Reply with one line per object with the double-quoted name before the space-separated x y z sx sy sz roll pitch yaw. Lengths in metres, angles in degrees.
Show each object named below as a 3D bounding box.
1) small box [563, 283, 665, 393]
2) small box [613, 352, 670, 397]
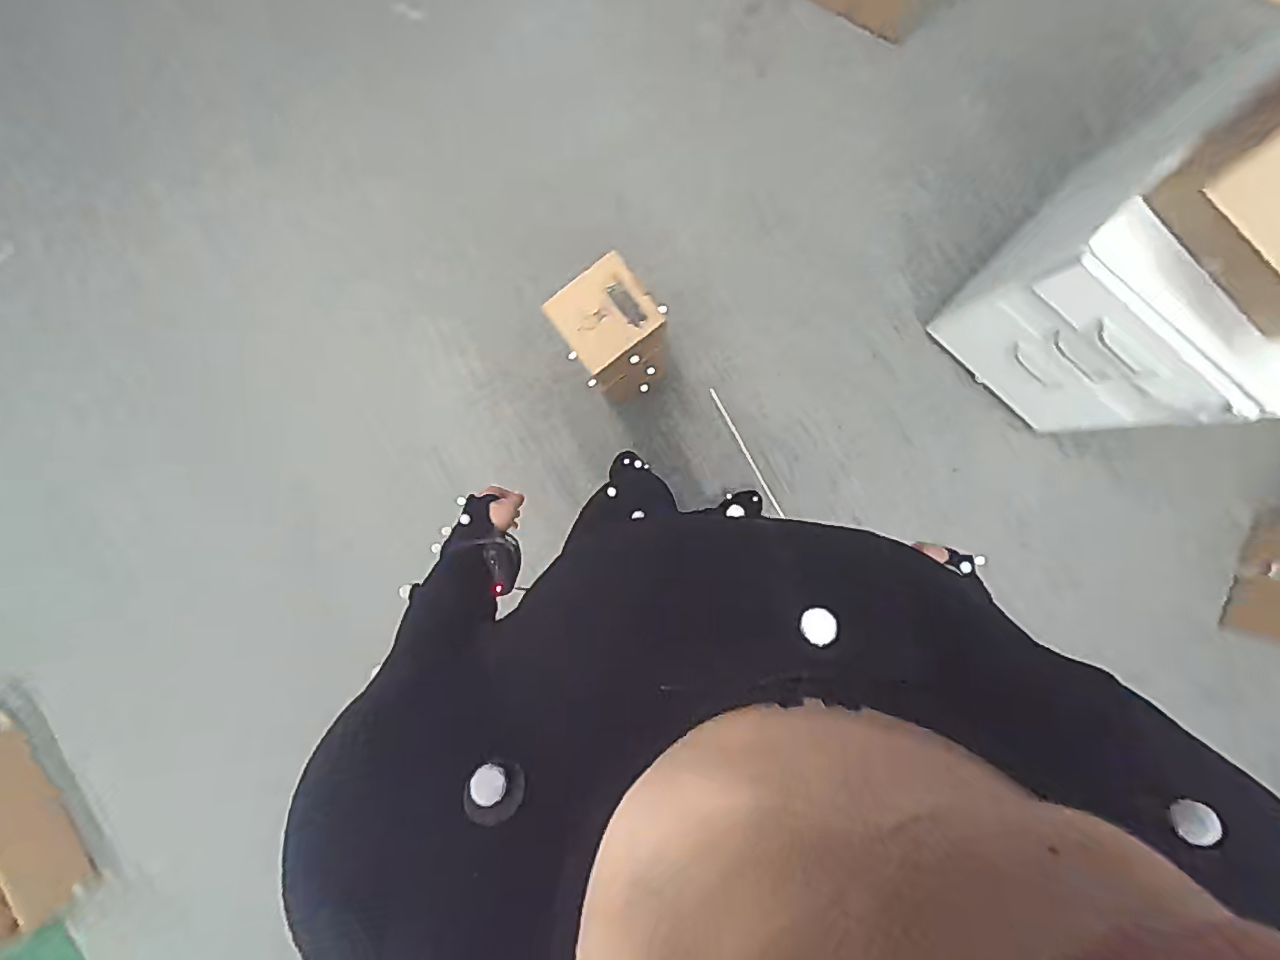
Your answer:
"small box" -0.051 -0.317 1.254 0.168 0.176 0.179 -33 89 3
"small box" -0.032 -0.329 1.415 0.168 0.176 0.179 -31 90 4
